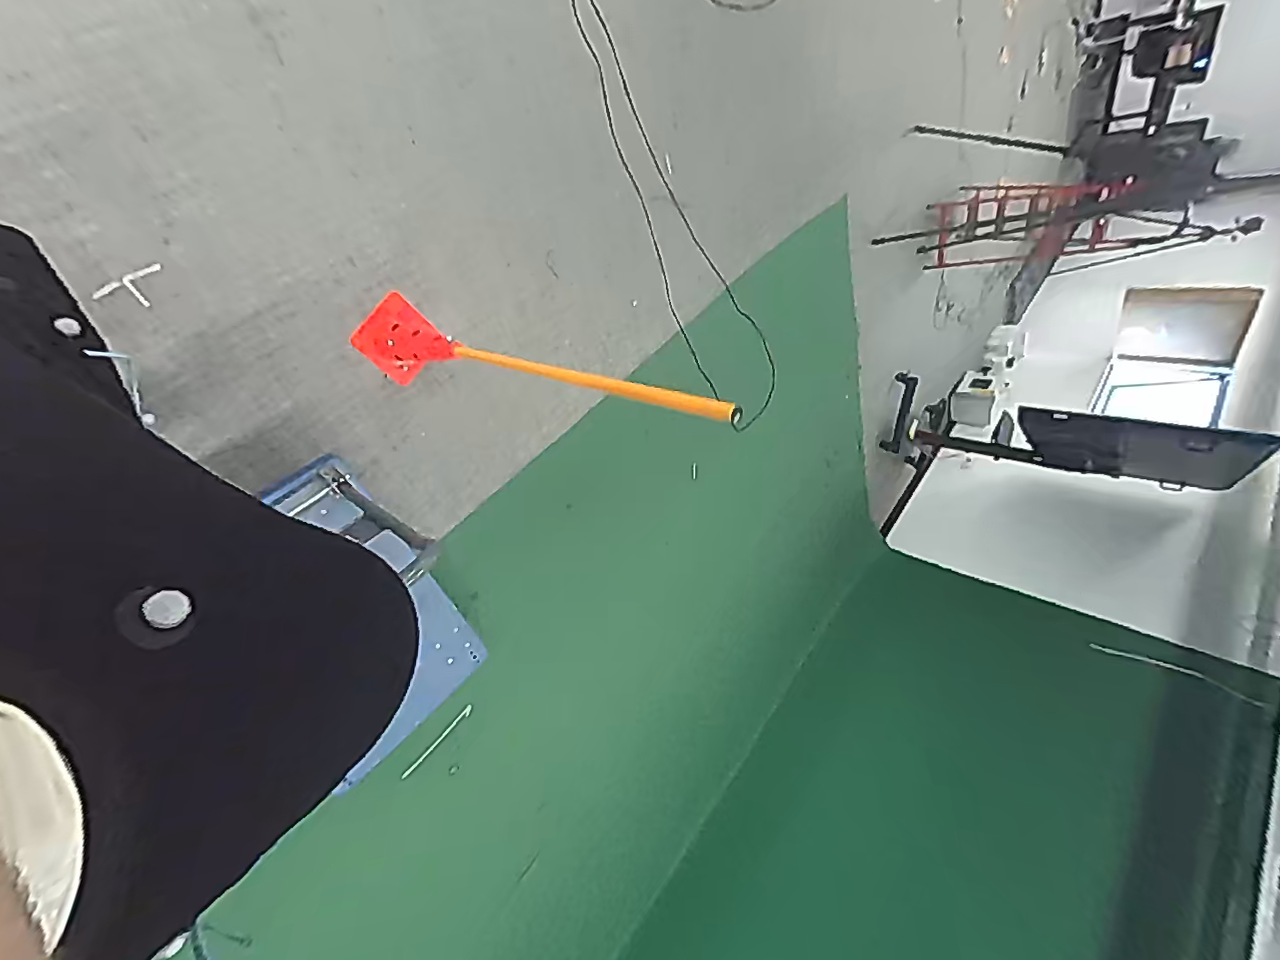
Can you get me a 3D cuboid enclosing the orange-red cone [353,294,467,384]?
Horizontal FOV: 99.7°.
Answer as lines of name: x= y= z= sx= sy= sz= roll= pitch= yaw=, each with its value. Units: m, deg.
orange-red cone: x=-0.568 y=-0.361 z=1.439 sx=0.199 sy=0.360 sz=0.198 roll=-57 pitch=138 yaw=-16
